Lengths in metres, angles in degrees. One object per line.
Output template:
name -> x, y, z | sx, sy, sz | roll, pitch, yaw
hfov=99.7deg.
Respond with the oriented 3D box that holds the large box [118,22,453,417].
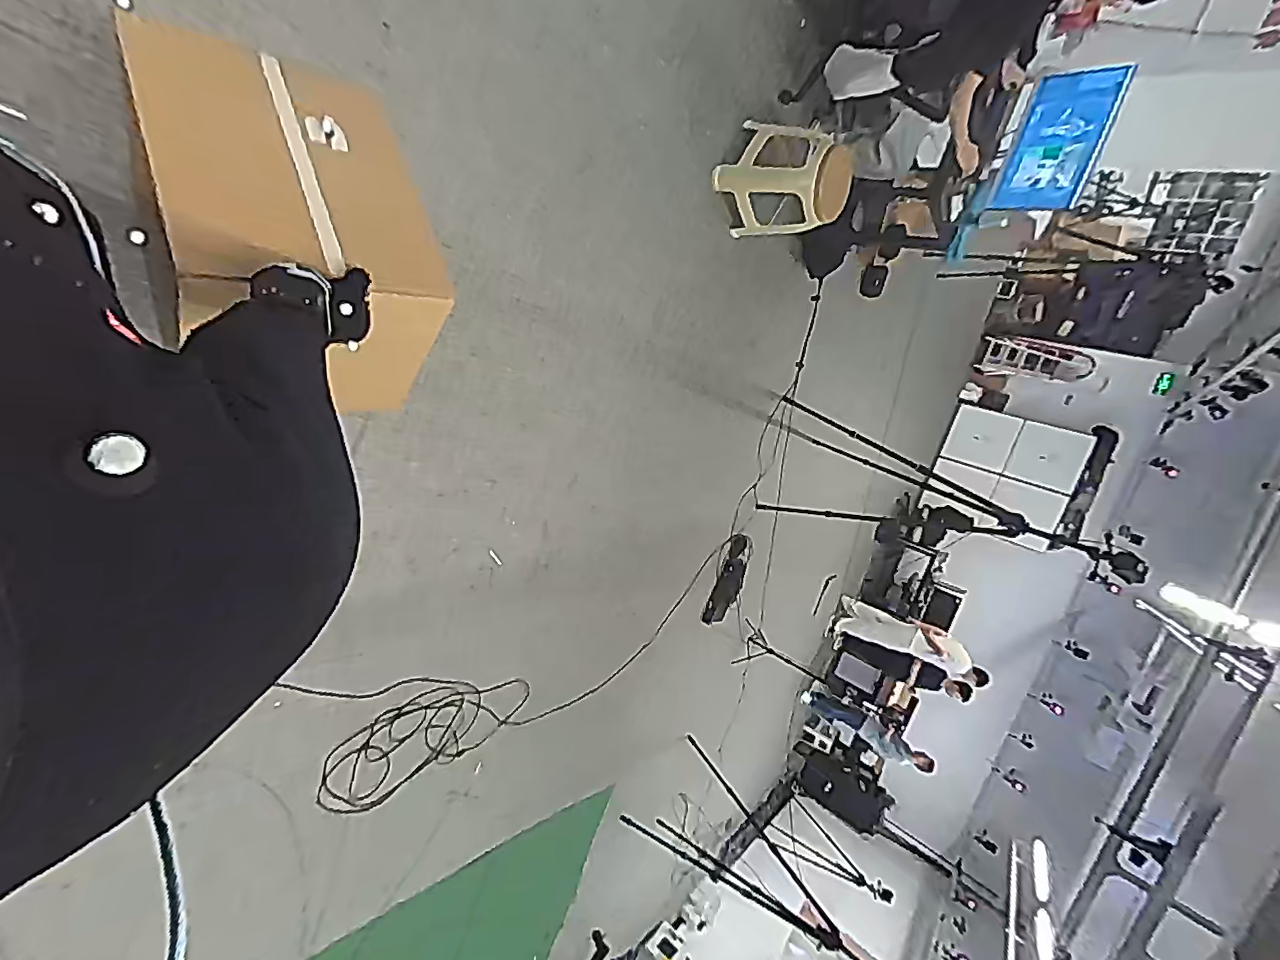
large box -> -0.541, -0.351, 0.832 | 0.320, 0.408, 0.320 | -11, 163, -43
